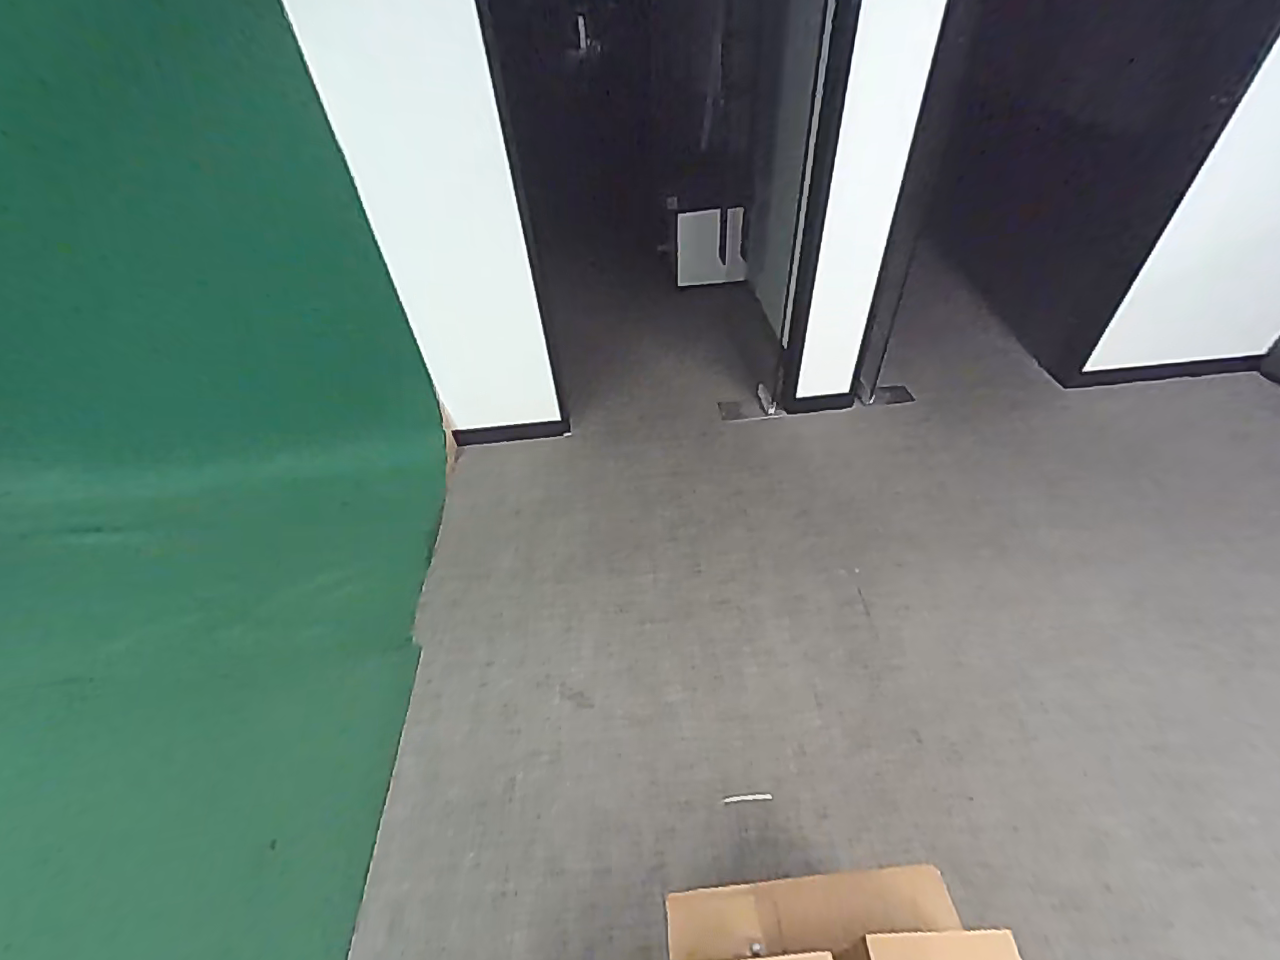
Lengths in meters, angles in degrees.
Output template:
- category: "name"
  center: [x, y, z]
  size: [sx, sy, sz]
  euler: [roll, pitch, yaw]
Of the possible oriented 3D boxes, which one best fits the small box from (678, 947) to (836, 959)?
- category: "small box"
  center: [0.106, 0.547, 0.490]
  size: [0.168, 0.176, 0.179]
  euler: [-6, 47, 0]
